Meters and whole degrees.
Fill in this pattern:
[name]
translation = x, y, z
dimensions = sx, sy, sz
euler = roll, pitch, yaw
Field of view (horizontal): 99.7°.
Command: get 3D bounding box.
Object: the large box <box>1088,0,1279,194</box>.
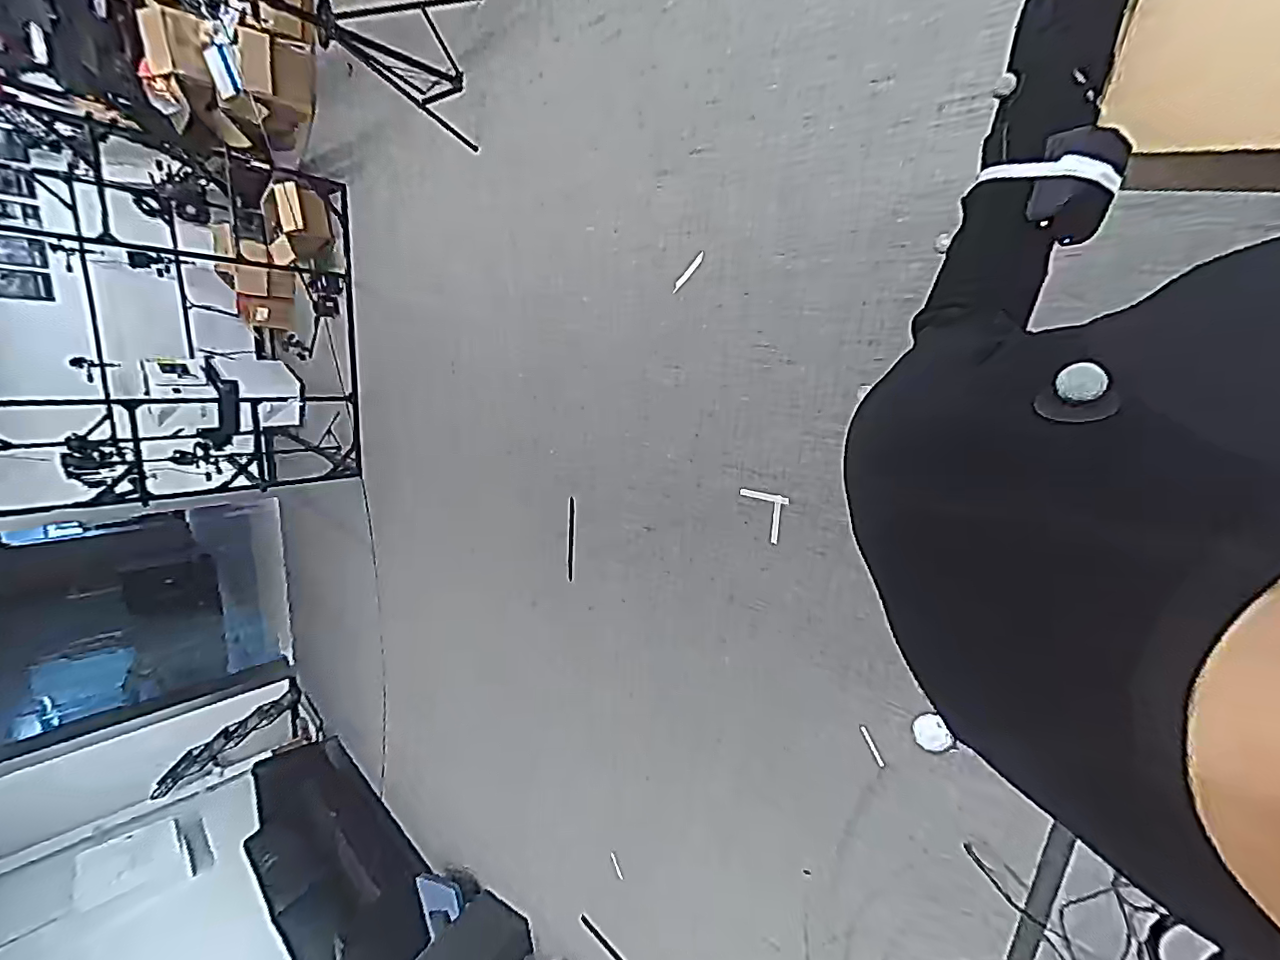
[large box]
translation = 0.599, -0.378, 0.355
dimensions = 0.408, 0.320, 0.320
euler = 22, 121, 35
